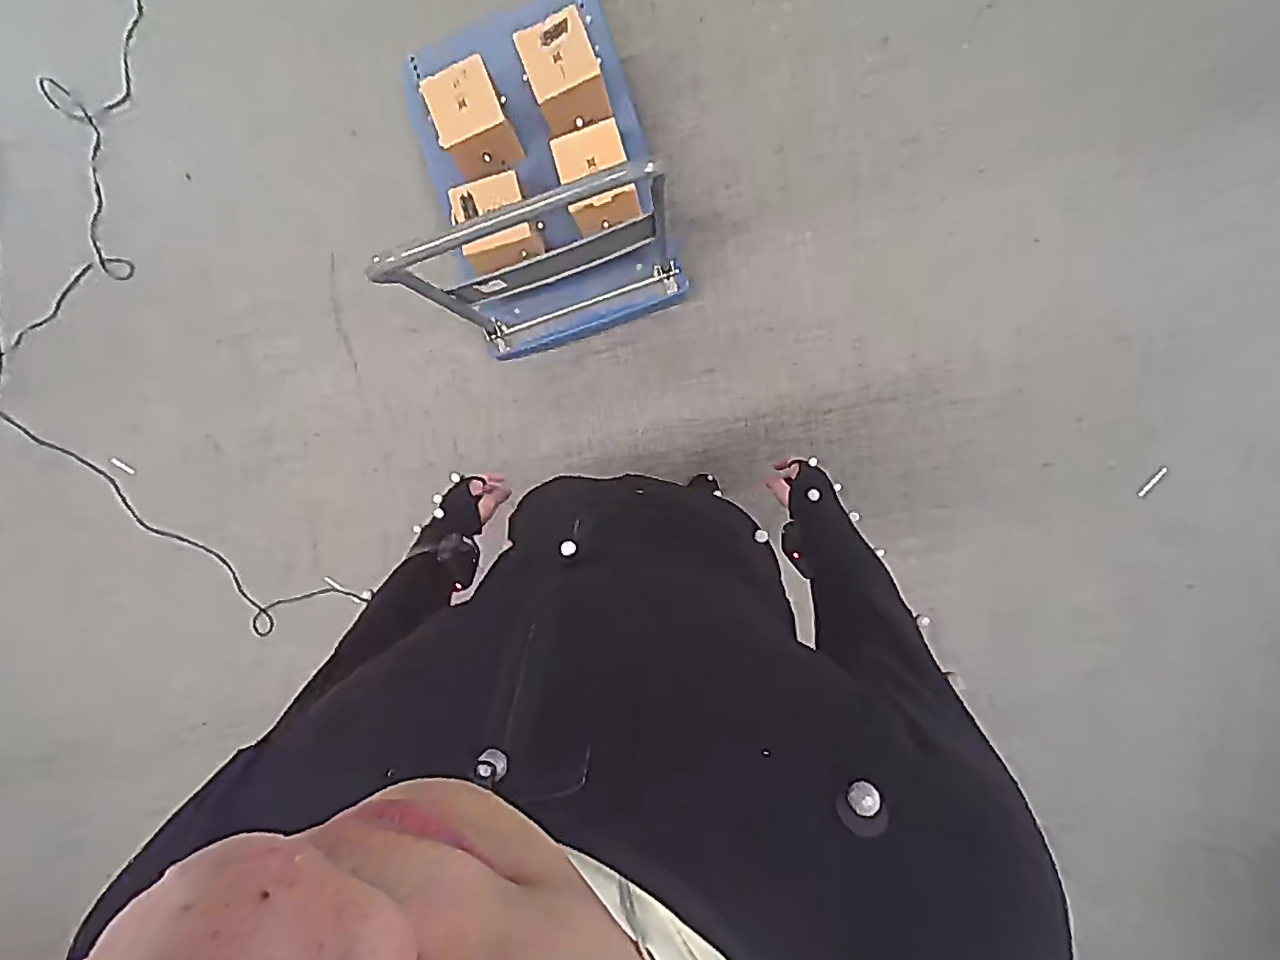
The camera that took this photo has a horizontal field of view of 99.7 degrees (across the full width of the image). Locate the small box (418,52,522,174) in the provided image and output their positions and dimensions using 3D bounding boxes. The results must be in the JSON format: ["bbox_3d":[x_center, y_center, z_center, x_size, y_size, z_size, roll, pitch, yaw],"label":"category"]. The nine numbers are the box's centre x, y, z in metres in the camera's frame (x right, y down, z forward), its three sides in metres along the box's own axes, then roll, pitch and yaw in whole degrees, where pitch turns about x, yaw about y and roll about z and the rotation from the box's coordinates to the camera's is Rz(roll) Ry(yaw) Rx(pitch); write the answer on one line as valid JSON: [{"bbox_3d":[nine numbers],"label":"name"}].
[{"bbox_3d":[-0.421,-0.913,1.369,0.168,0.176,0.179,-21,91,6],"label":"small box"}]

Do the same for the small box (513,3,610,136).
[{"bbox_3d":[-0.187,-1.004,1.340,0.168,0.176,0.179,-21,92,8],"label":"small box"}]

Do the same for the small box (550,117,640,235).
[{"bbox_3d":[-0.105,-0.746,1.346,0.168,0.176,0.179,-16,91,7],"label":"small box"}]
